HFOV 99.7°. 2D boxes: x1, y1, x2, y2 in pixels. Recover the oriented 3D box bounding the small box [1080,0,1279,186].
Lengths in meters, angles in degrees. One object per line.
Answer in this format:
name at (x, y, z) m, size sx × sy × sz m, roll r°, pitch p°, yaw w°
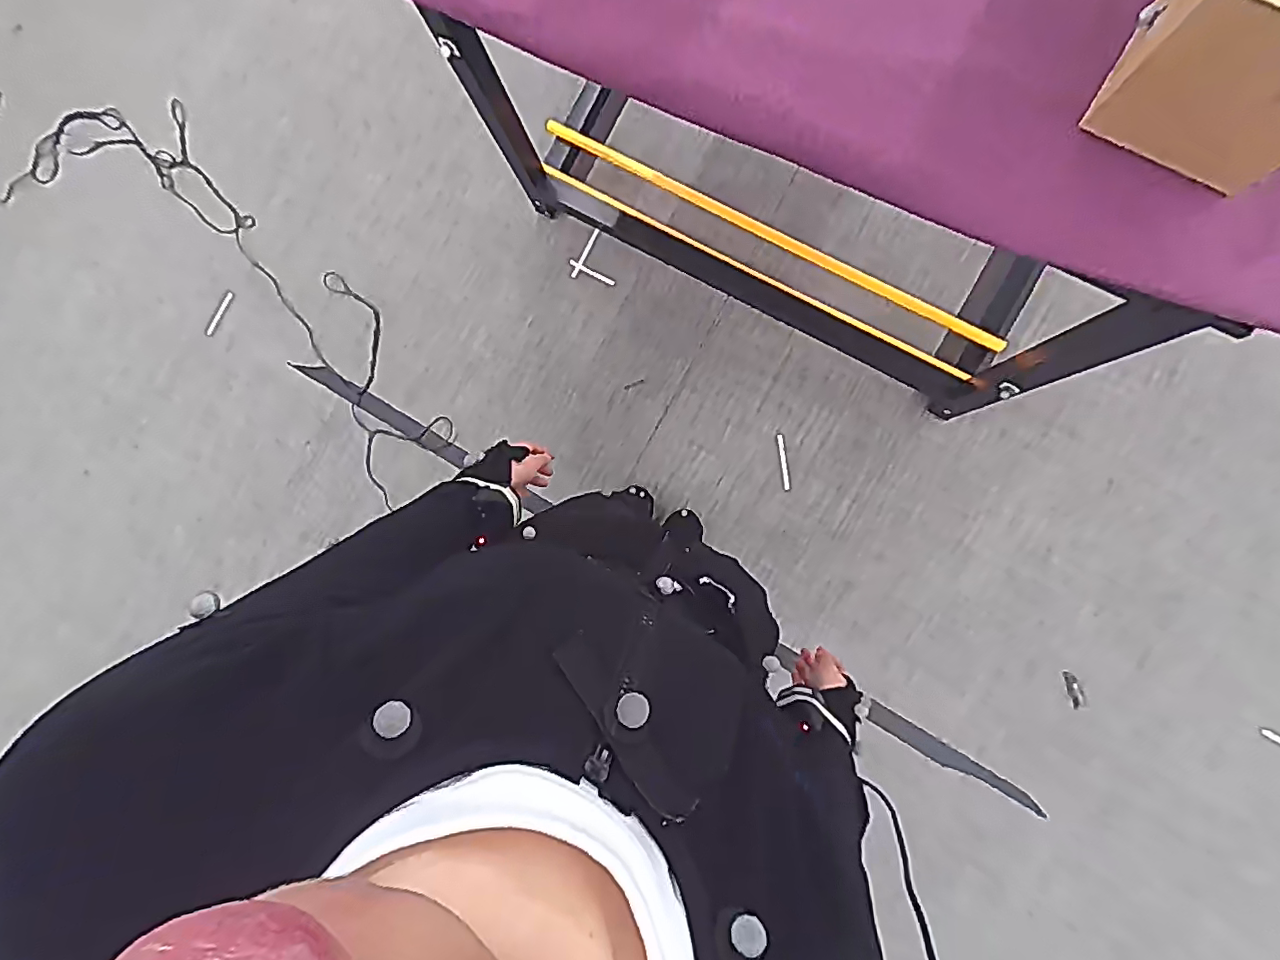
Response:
small box at (0.594, -0.424, 0.518) m, size 0.179 × 0.176 × 0.168 m, roll 31°, pitch 90°, yaw 7°
